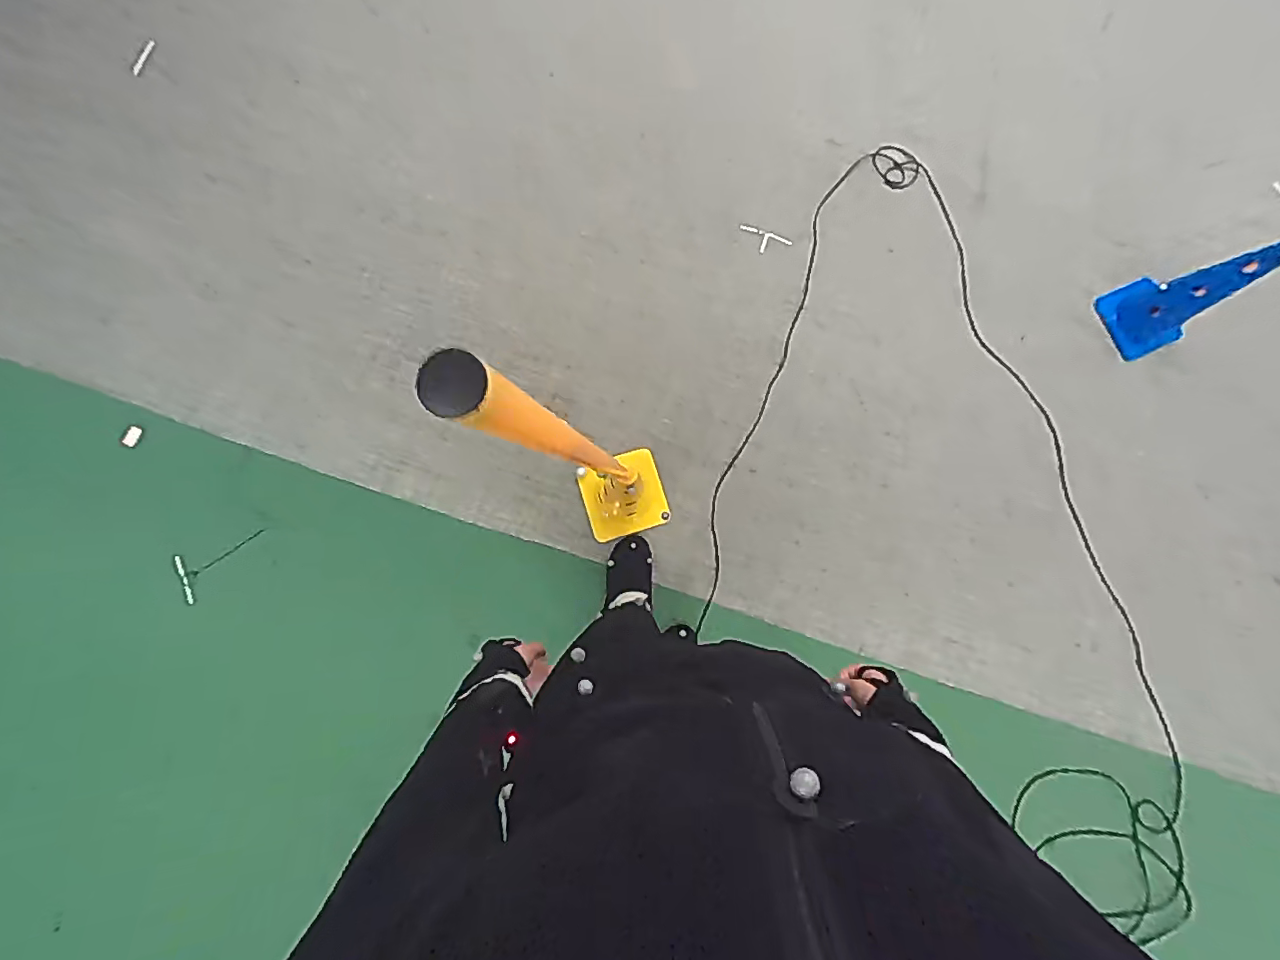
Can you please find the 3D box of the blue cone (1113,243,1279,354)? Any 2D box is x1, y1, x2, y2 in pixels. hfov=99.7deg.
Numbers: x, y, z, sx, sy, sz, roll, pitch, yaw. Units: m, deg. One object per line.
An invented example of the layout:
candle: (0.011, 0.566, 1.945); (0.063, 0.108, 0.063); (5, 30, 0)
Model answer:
blue cone: (1.405, -0.482, 1.308); (0.193, 0.380, 0.192); (-26, 84, -8)
